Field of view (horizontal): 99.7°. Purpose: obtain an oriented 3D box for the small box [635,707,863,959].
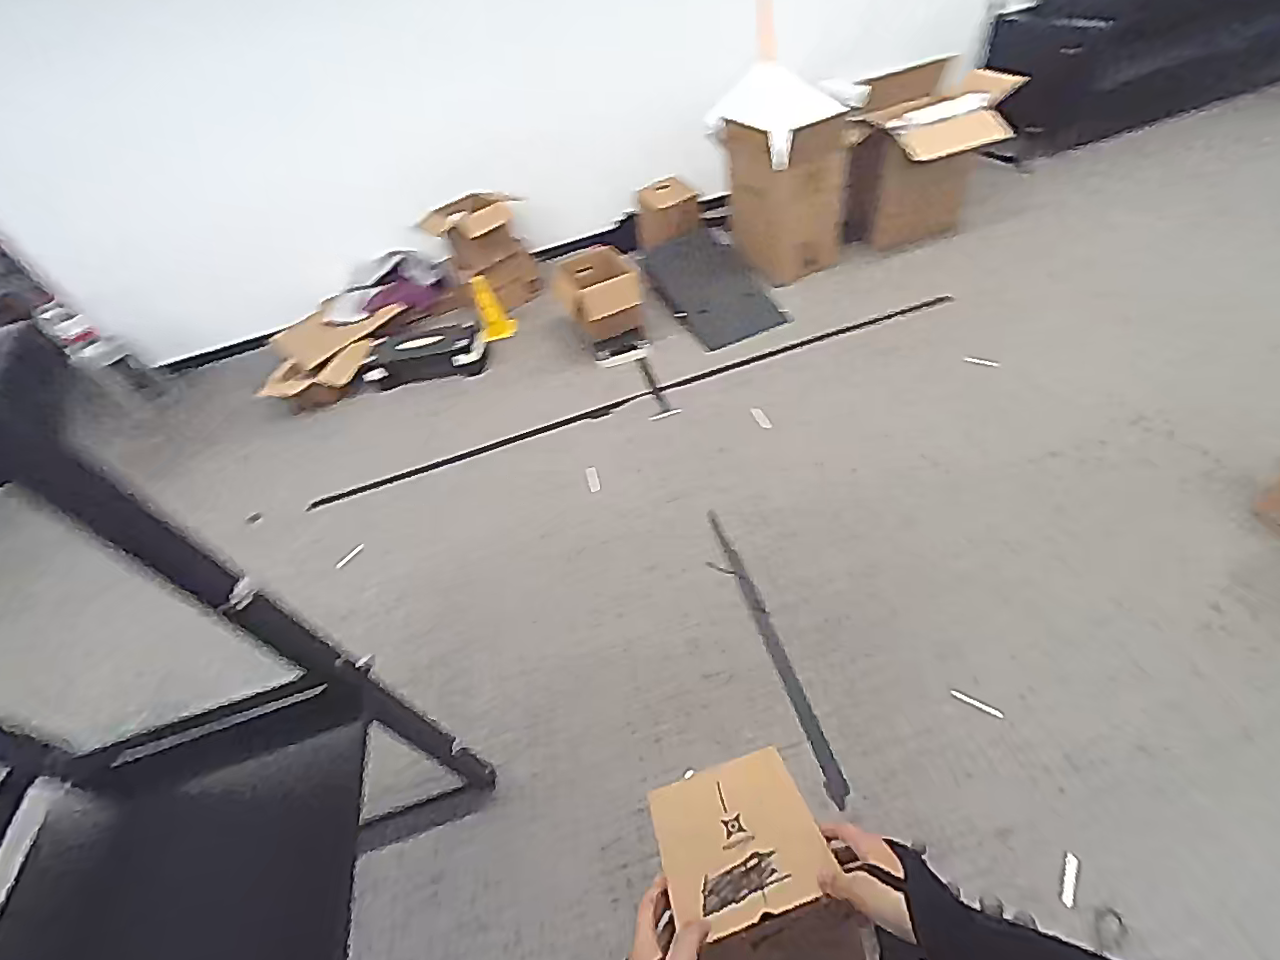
[{"bbox_3d":[0.106,0.382,0.557,0.168,0.176,0.179,-18,20,-4],"label":"small box"}]
